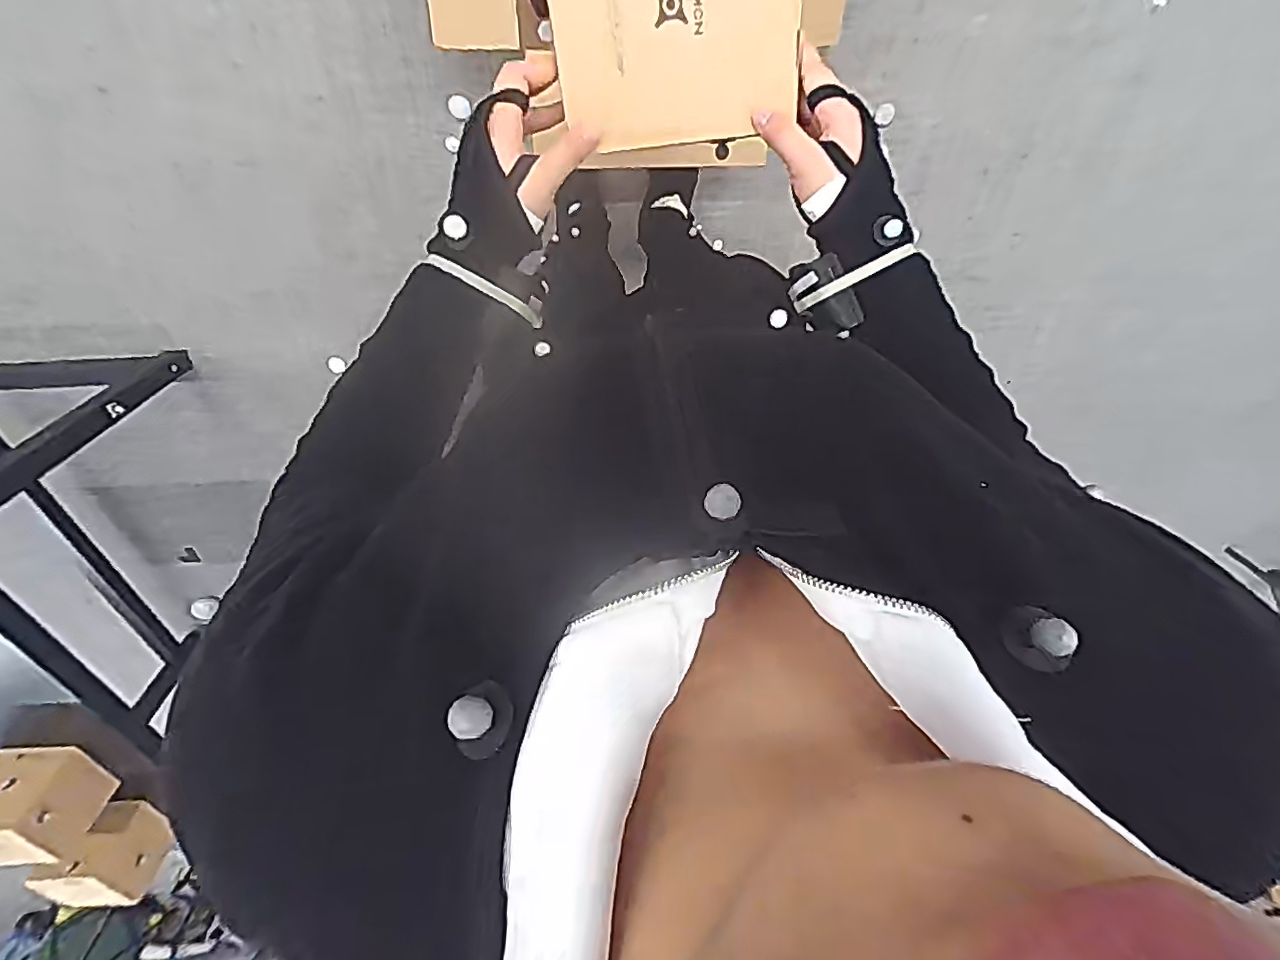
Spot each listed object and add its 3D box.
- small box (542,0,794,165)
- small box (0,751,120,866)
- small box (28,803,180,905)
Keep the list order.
[{"bbox_3d":[0.016,-0.363,0.443,0.179,0.176,0.168,-7,120,2],"label":"small box"},{"bbox_3d":[-1.313,0.708,1.175,0.168,0.176,0.179,-1,127,-2],"label":"small box"},{"bbox_3d":[-1.309,0.925,1.341,0.168,0.176,0.179,-4,128,0],"label":"small box"}]
